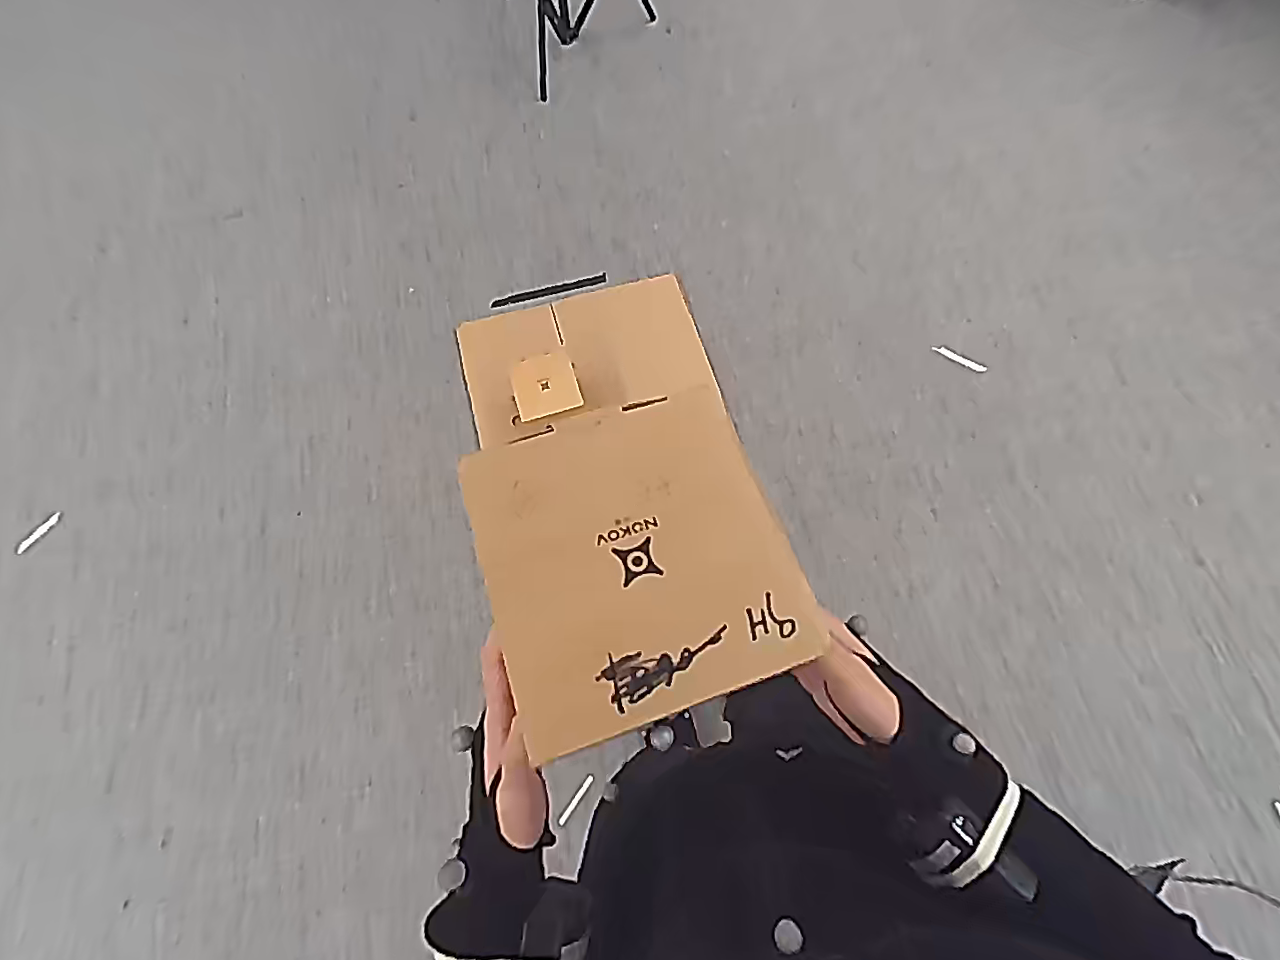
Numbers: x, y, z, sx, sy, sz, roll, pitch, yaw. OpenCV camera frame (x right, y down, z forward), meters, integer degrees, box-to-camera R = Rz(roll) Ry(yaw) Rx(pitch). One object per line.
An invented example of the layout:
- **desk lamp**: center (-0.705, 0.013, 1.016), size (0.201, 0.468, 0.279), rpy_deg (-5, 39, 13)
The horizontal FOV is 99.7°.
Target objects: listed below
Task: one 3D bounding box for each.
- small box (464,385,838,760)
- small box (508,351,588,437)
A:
- **small box**: center (-0.001, 0.069, 0.370), size (0.168, 0.176, 0.179), rpy_deg (-18, 67, -6)
- **small box**: center (-0.242, -0.215, 1.461), size (0.168, 0.176, 0.179), rpy_deg (-17, 72, -6)
